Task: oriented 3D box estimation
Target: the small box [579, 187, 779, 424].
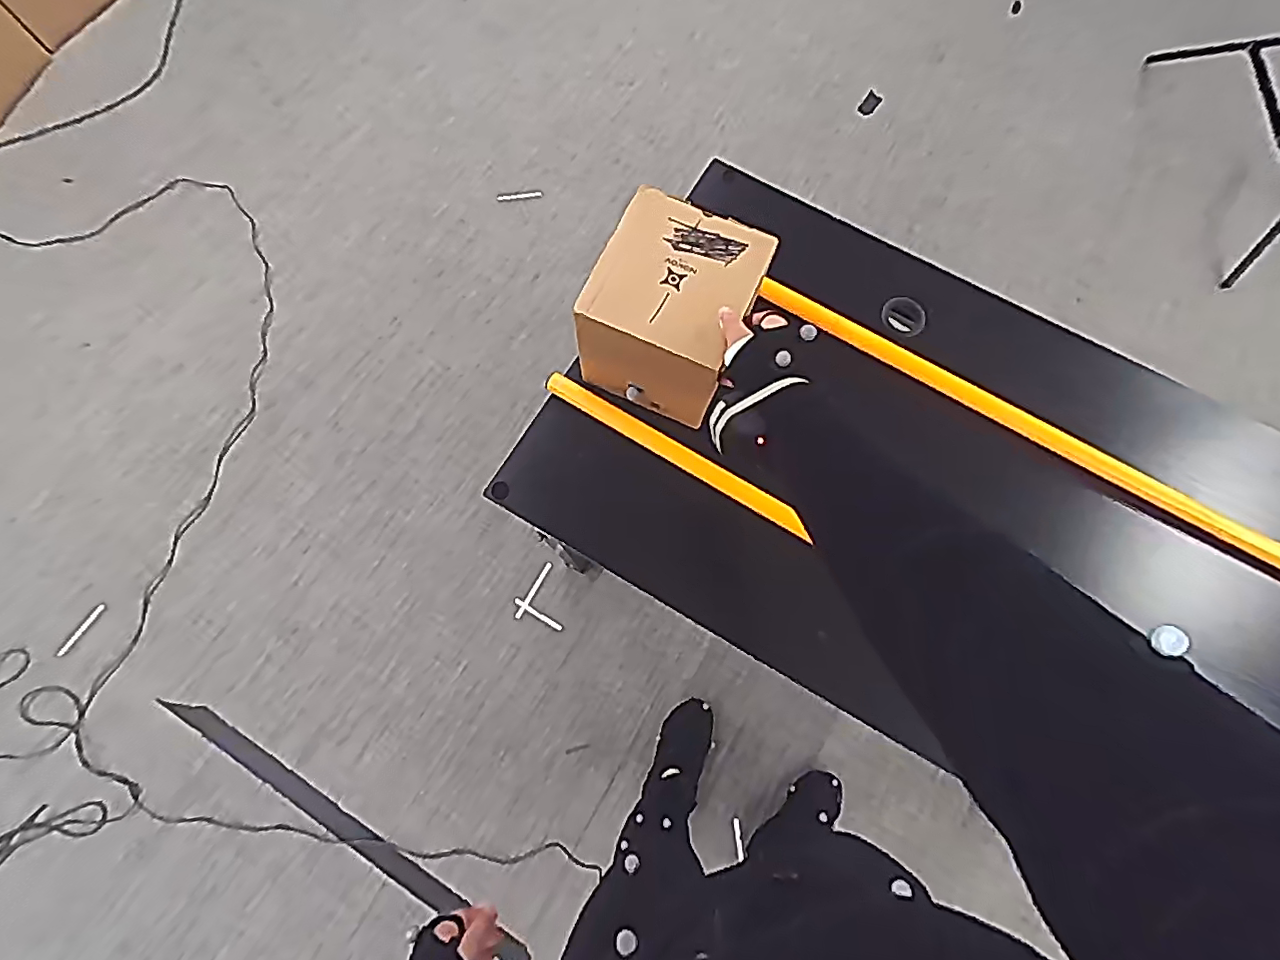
[{"bbox_3d":[0.041,-0.196,0.647,0.168,0.176,0.179,24,76,5],"label":"small box"}]
